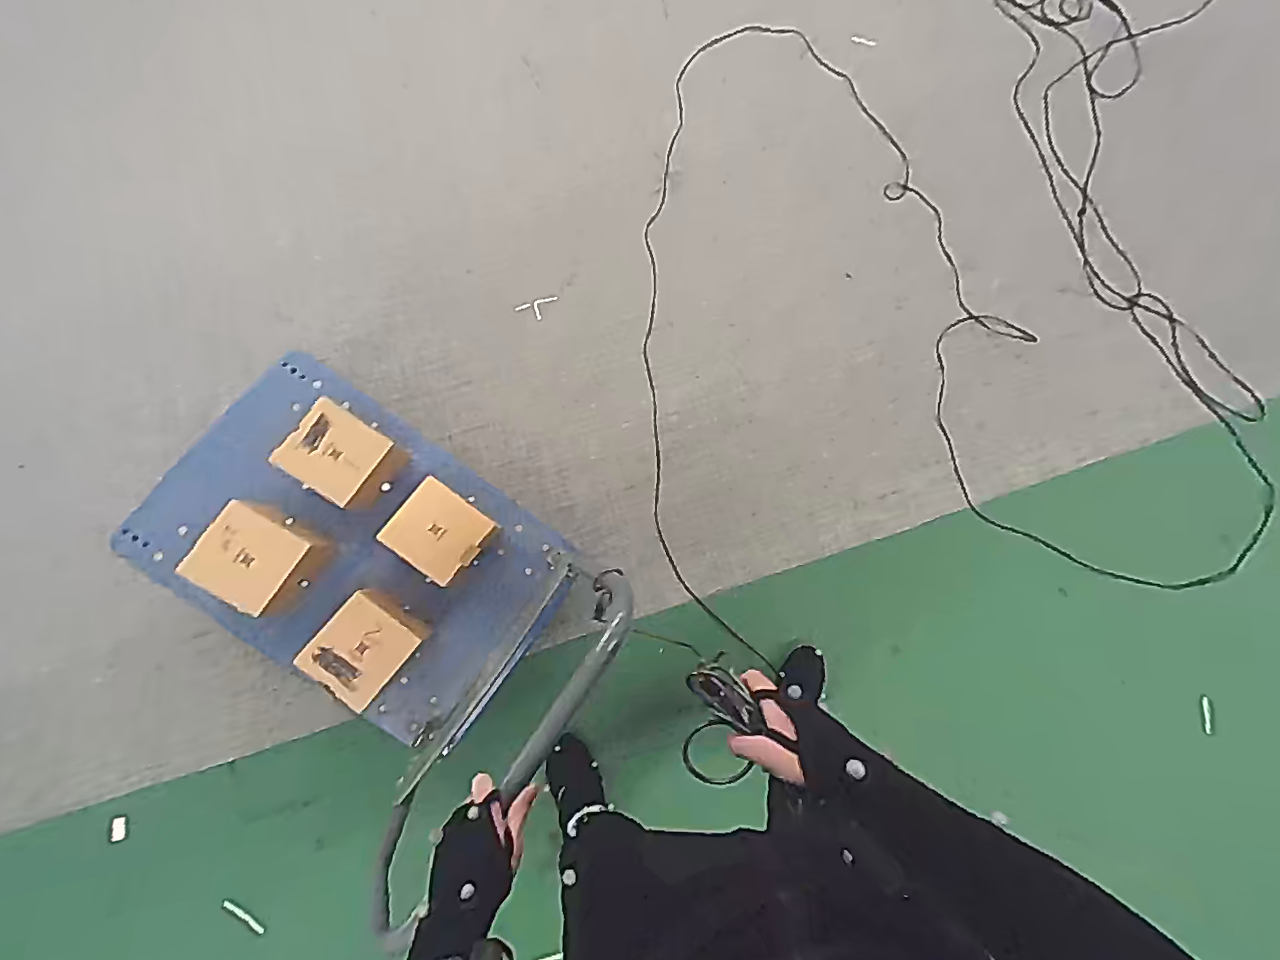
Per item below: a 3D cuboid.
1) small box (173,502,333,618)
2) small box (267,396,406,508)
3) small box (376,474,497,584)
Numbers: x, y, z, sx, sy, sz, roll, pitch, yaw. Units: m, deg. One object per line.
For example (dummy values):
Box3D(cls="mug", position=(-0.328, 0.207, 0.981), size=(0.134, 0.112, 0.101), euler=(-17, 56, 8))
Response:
Box3D(cls="small box", position=(-0.779, 0.162, 1.115), size=(0.179, 0.176, 0.168), euler=(32, 77, -5))
Box3D(cls="small box", position=(-0.643, -0.049, 1.171), size=(0.179, 0.176, 0.168), euler=(34, 78, -6))
Box3D(cls="small box", position=(-0.437, 0.113, 1.192), size=(0.179, 0.176, 0.168), euler=(37, 77, -5))
